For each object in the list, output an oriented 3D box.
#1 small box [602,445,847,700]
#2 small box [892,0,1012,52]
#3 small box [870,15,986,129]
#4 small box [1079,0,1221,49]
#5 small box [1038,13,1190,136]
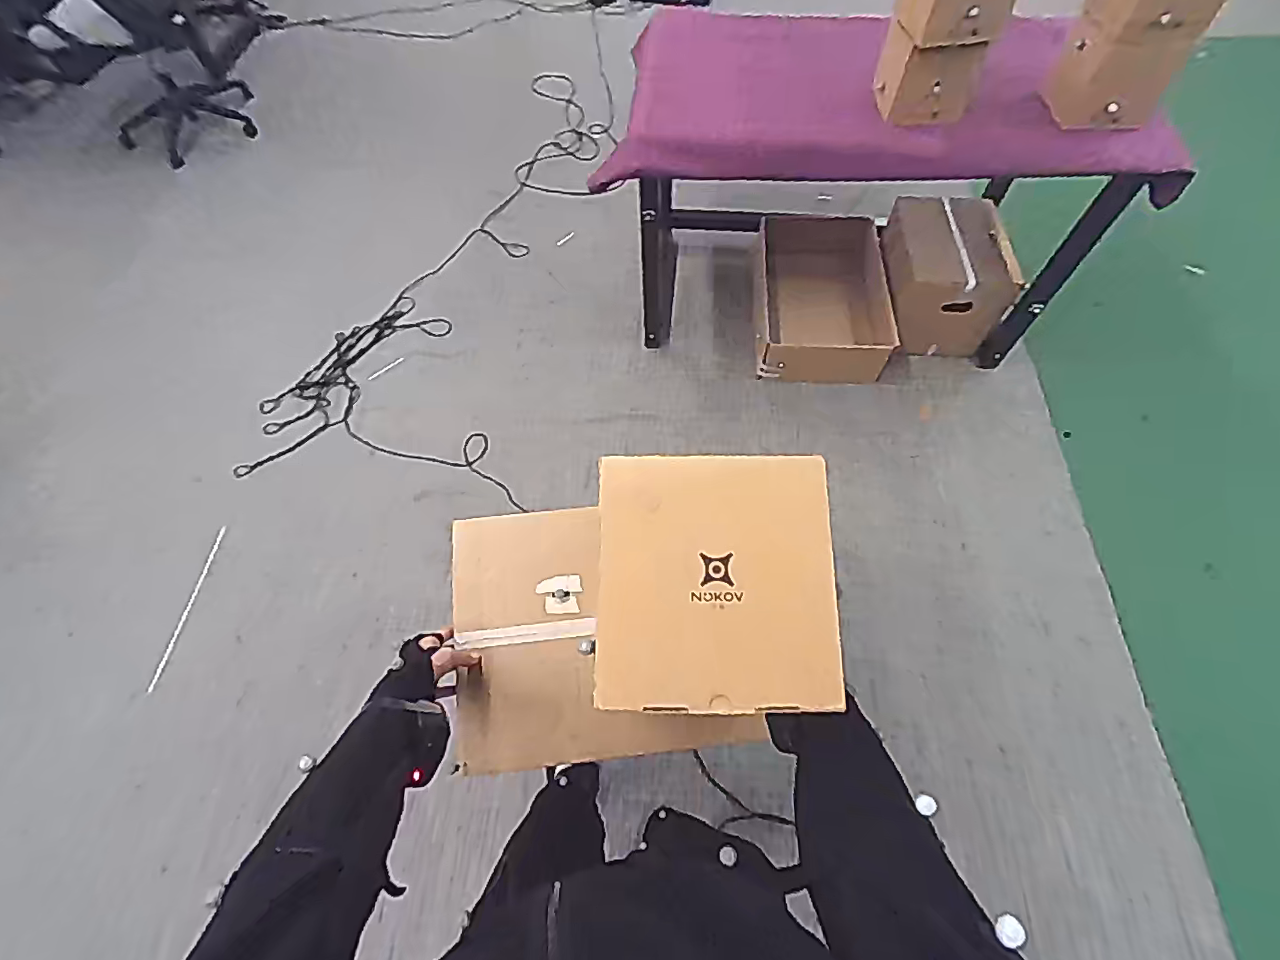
[{"bbox_3d":[0.055,0.079,0.453,0.168,0.176,0.179,1,77,-1],"label":"small box"},{"bbox_3d":[0.627,-0.986,1.070,0.168,0.176,0.179,-6,60,0],"label":"small box"},{"bbox_3d":[0.641,-0.925,1.225,0.168,0.176,0.179,0,61,2],"label":"small box"},{"bbox_3d":[1.007,-0.971,1.047,0.168,0.176,0.179,1,60,4],"label":"small box"},{"bbox_3d":[1.020,-0.889,1.187,0.168,0.176,0.179,3,61,5],"label":"small box"}]
